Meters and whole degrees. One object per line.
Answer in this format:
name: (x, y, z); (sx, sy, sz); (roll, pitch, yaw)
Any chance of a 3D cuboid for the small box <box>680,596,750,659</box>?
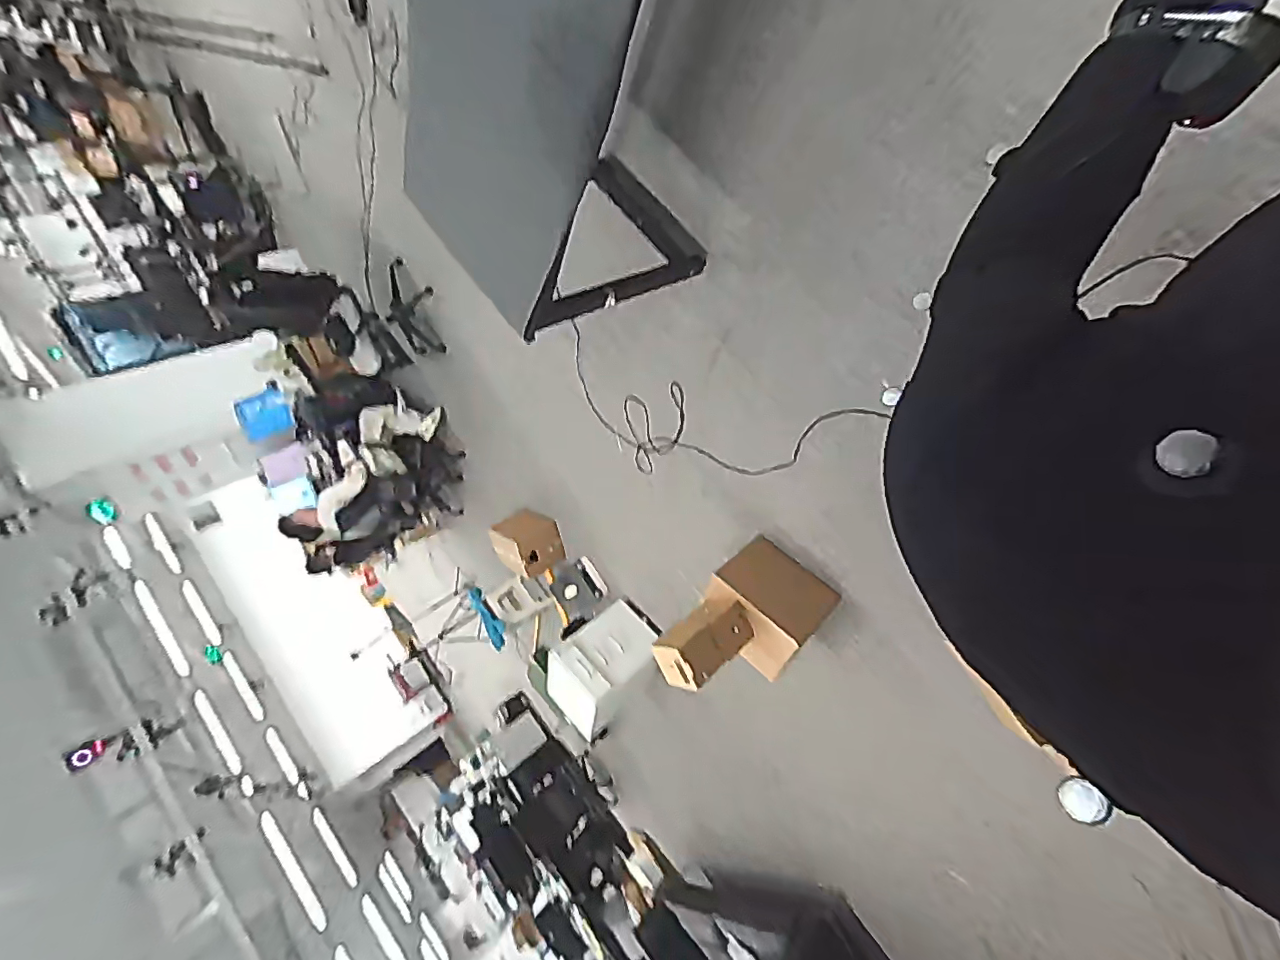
small box: (0.293, 0.553, 2.050); (0.179, 0.176, 0.168); (-17, 102, 53)
